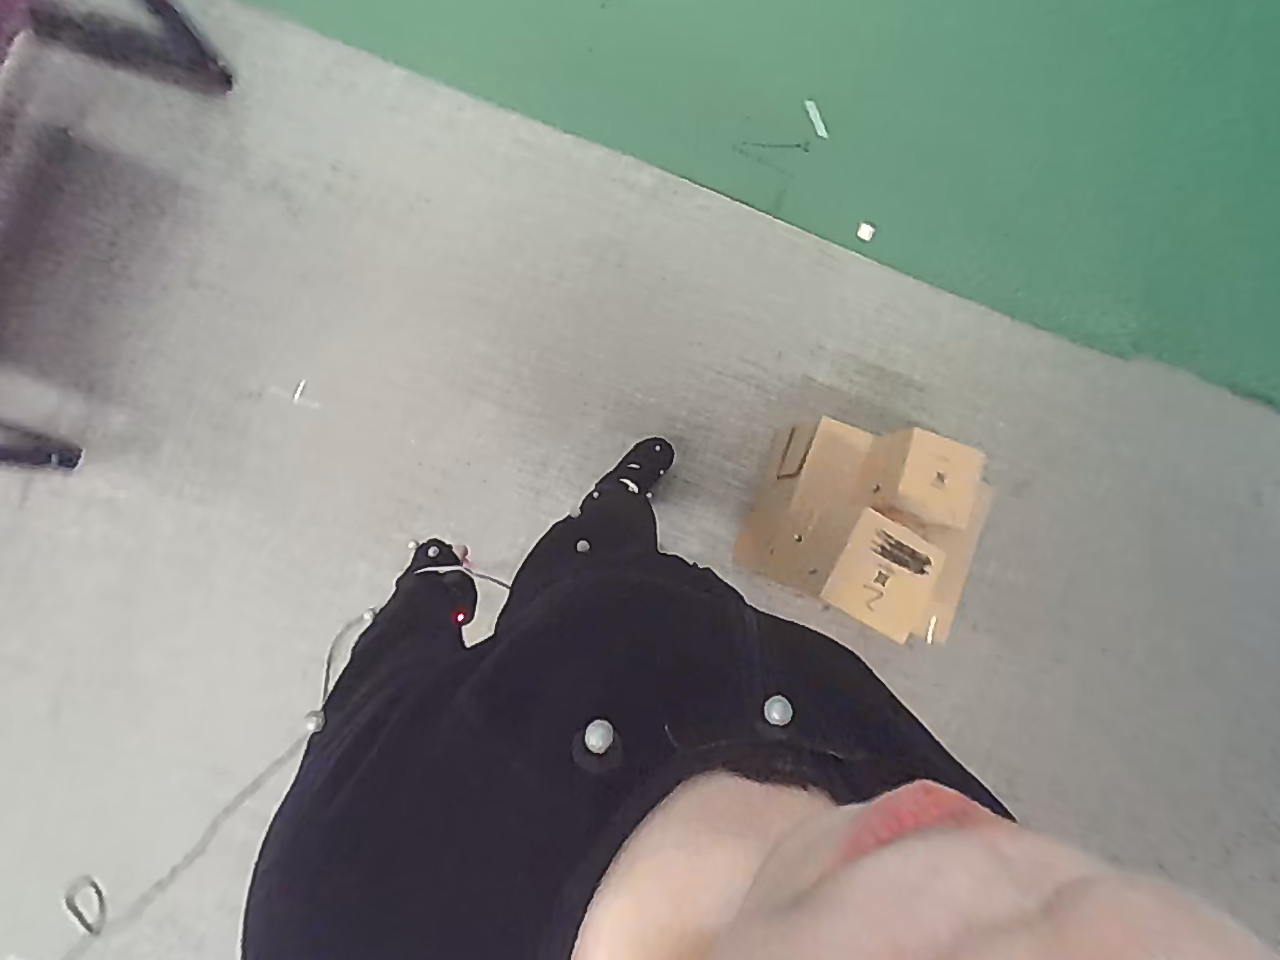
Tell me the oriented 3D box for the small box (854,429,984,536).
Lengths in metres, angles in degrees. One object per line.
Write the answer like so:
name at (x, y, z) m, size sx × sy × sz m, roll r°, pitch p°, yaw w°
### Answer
small box at (0.591, 0.010, 1.170) m, size 0.168 × 0.176 × 0.179 m, roll 20°, pitch 84°, yaw -5°

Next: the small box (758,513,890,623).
small box at (0.377, 0.173, 1.137) m, size 0.179 × 0.176 × 0.168 m, roll 26°, pitch 86°, yaw -4°
